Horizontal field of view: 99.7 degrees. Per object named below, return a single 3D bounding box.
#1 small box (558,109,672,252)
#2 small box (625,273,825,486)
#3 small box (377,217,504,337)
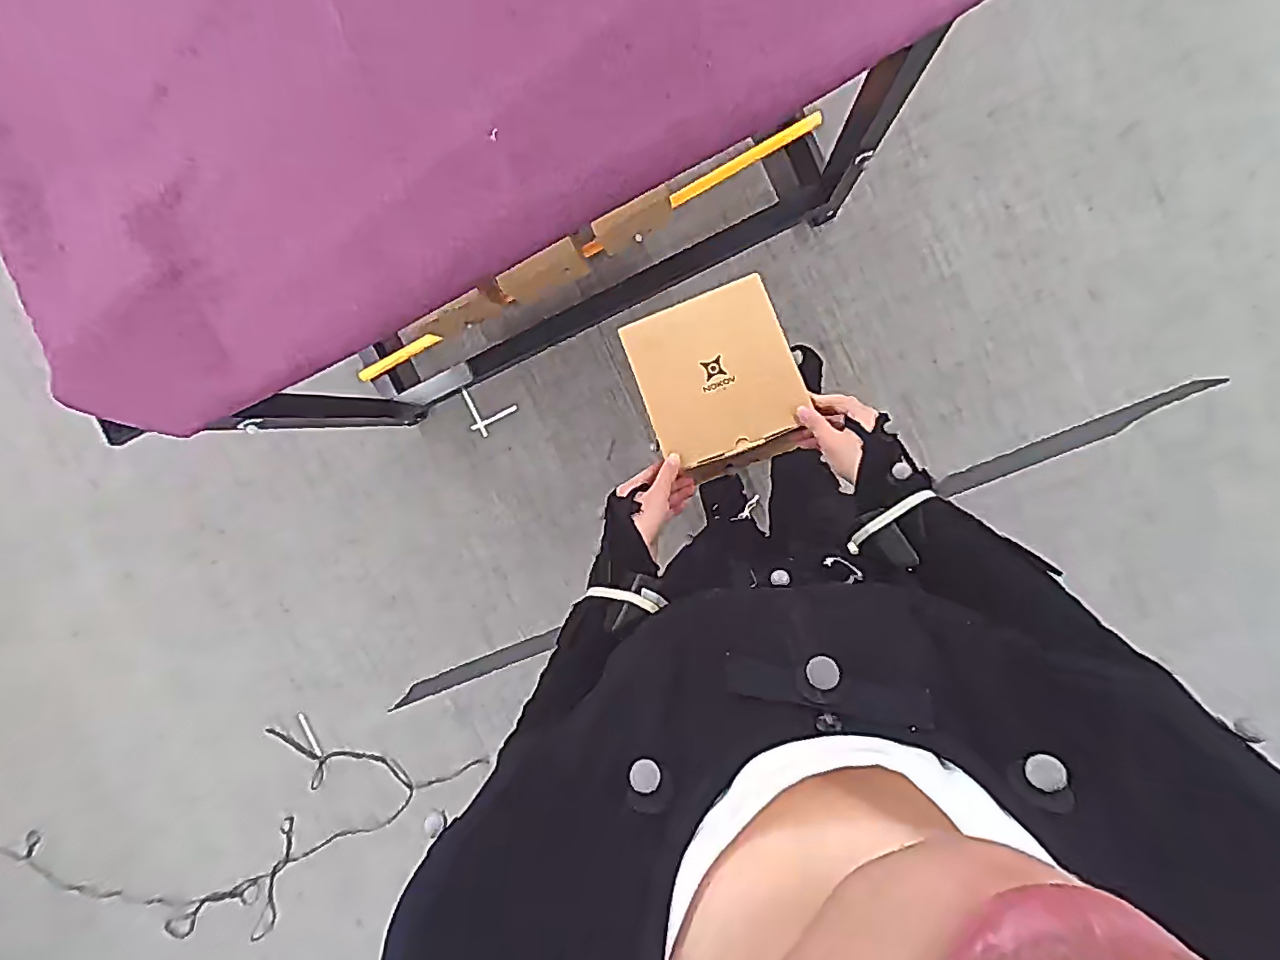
[{"bbox_3d":[-0.044,-0.606,1.121,0.168,0.176,0.179,-26,96,10],"label":"small box"},{"bbox_3d":[0.094,-0.105,0.643,0.168,0.176,0.179,-21,82,5],"label":"small box"},{"bbox_3d":[-0.427,-0.432,1.184,0.168,0.176,0.179,-24,96,8],"label":"small box"}]
